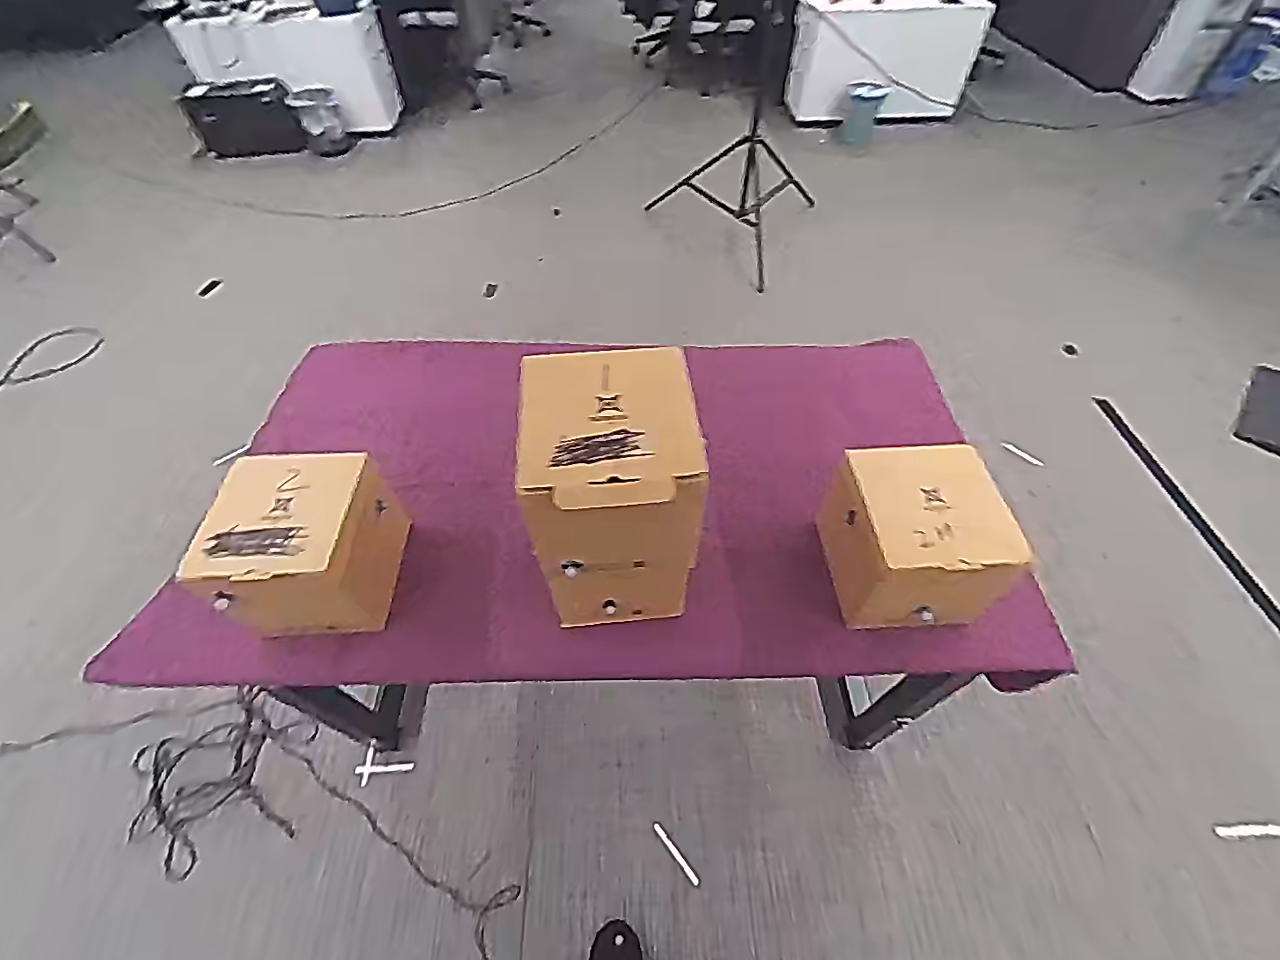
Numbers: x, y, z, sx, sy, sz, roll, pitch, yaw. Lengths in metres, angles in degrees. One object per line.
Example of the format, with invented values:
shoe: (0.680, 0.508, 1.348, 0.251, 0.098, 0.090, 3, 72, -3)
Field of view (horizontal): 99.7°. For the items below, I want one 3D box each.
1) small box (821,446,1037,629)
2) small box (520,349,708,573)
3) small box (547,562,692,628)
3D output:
small box: (0.351, 0.076, 0.704, 0.168, 0.176, 0.179, -3, 52, -1)
small box: (-0.027, -0.012, 0.571, 0.168, 0.176, 0.179, -4, 53, -3)
small box: (-0.031, 0.074, 0.711, 0.168, 0.176, 0.179, -6, 53, -4)
